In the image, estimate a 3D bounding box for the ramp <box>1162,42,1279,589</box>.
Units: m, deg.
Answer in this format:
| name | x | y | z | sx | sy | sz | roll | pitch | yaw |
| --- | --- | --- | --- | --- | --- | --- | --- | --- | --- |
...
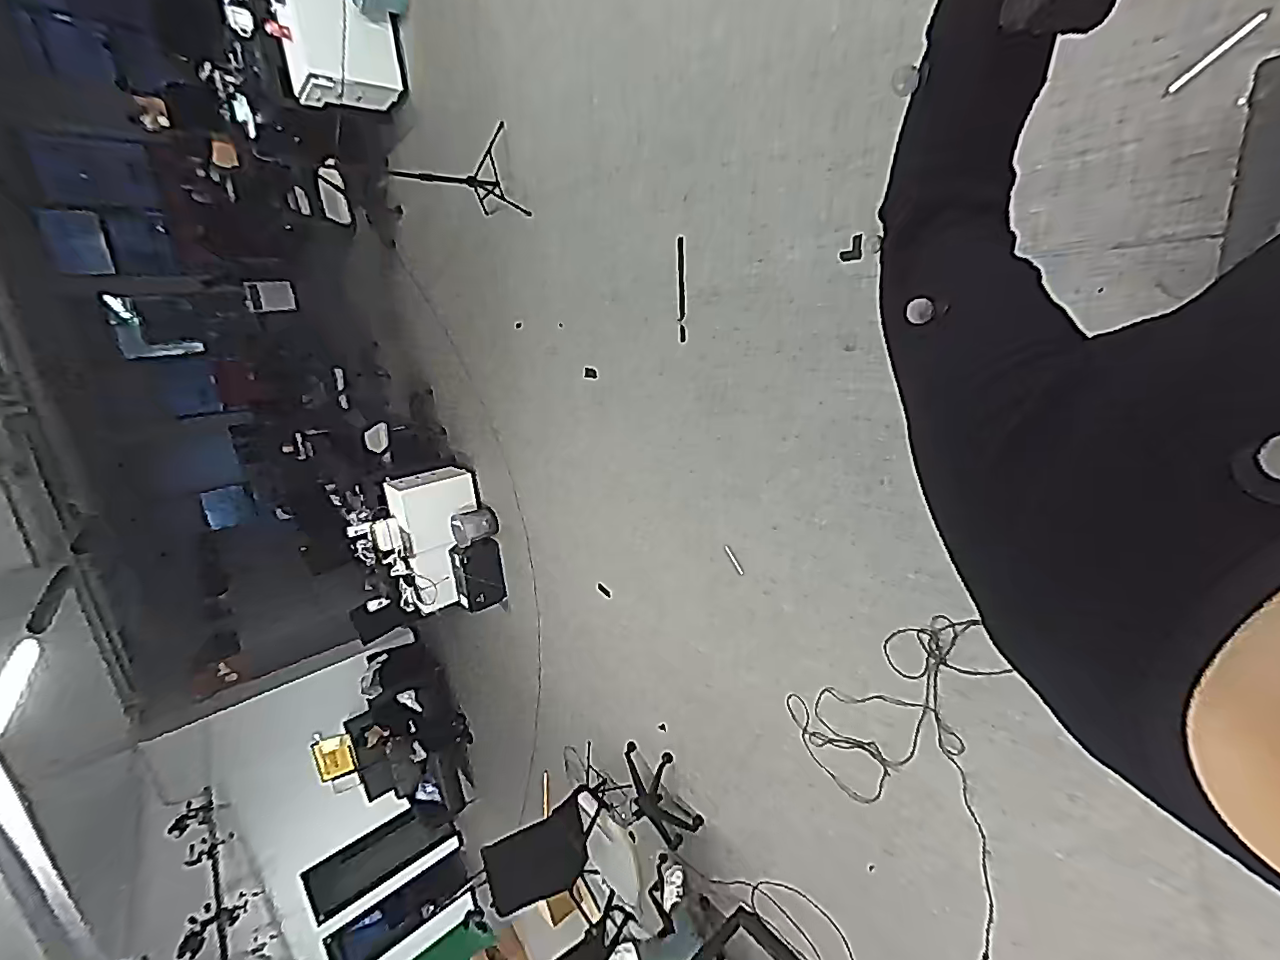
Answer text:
| name | x | y | z | sx | sy | sz | roll | pitch | yaw |
| --- | --- | --- | --- | --- | --- | --- | --- | --- | --- |
| ramp | 1.259 | -0.209 | 0.879 | 0.509 | 0.206 | 0.991 | 12 | 114 | 48 |
